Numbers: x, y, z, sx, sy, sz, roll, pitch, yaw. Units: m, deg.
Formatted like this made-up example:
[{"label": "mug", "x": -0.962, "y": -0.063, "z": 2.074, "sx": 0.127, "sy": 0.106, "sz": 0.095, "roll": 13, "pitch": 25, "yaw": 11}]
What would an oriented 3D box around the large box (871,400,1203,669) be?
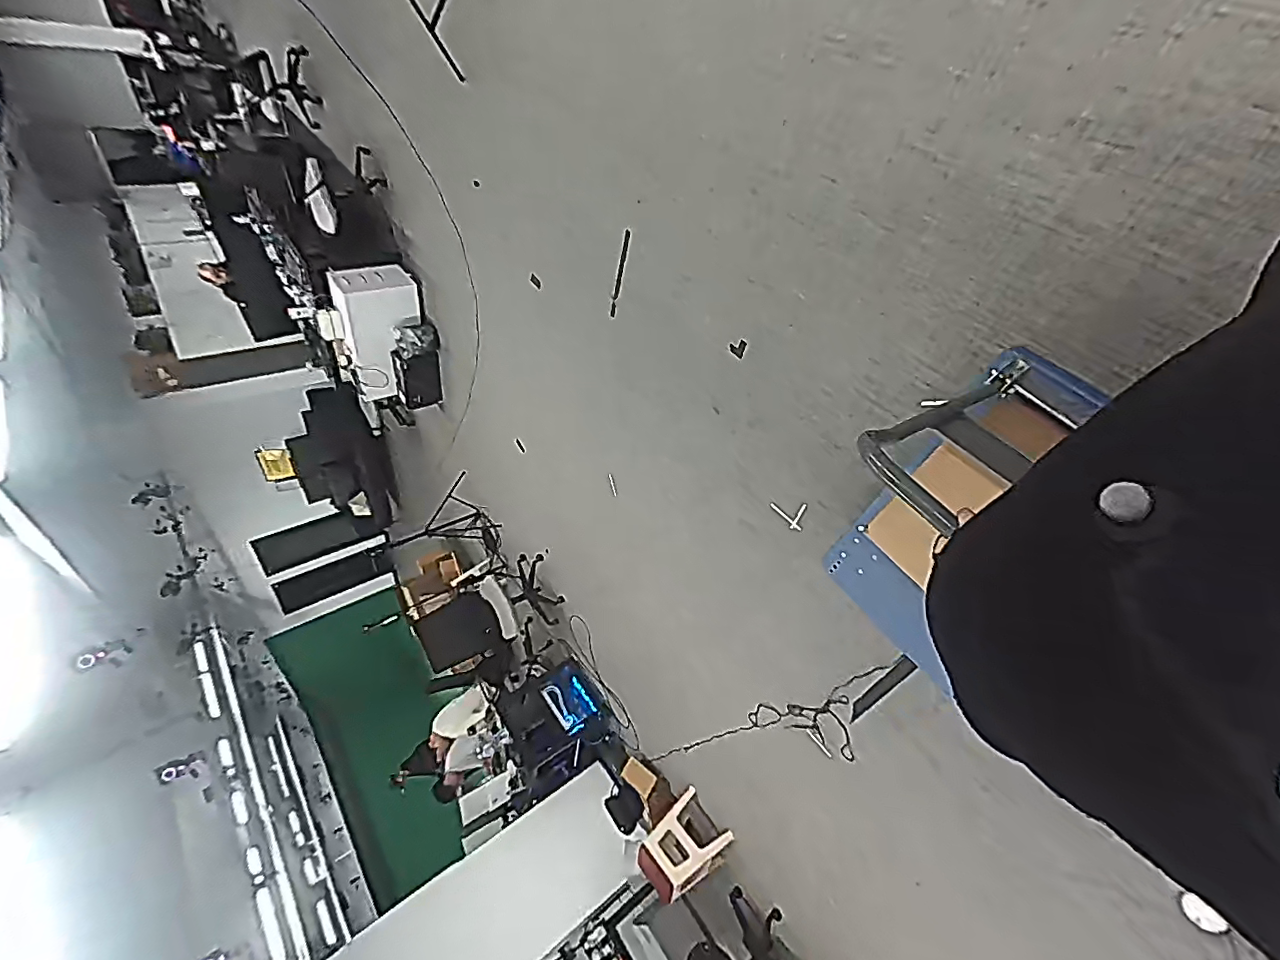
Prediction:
[{"label": "large box", "x": 0.796, "y": 0.098, "z": 1.128, "sx": 0.408, "sy": 0.320, "sz": 0.320, "roll": 50, "pitch": 143, "yaw": 26}]
